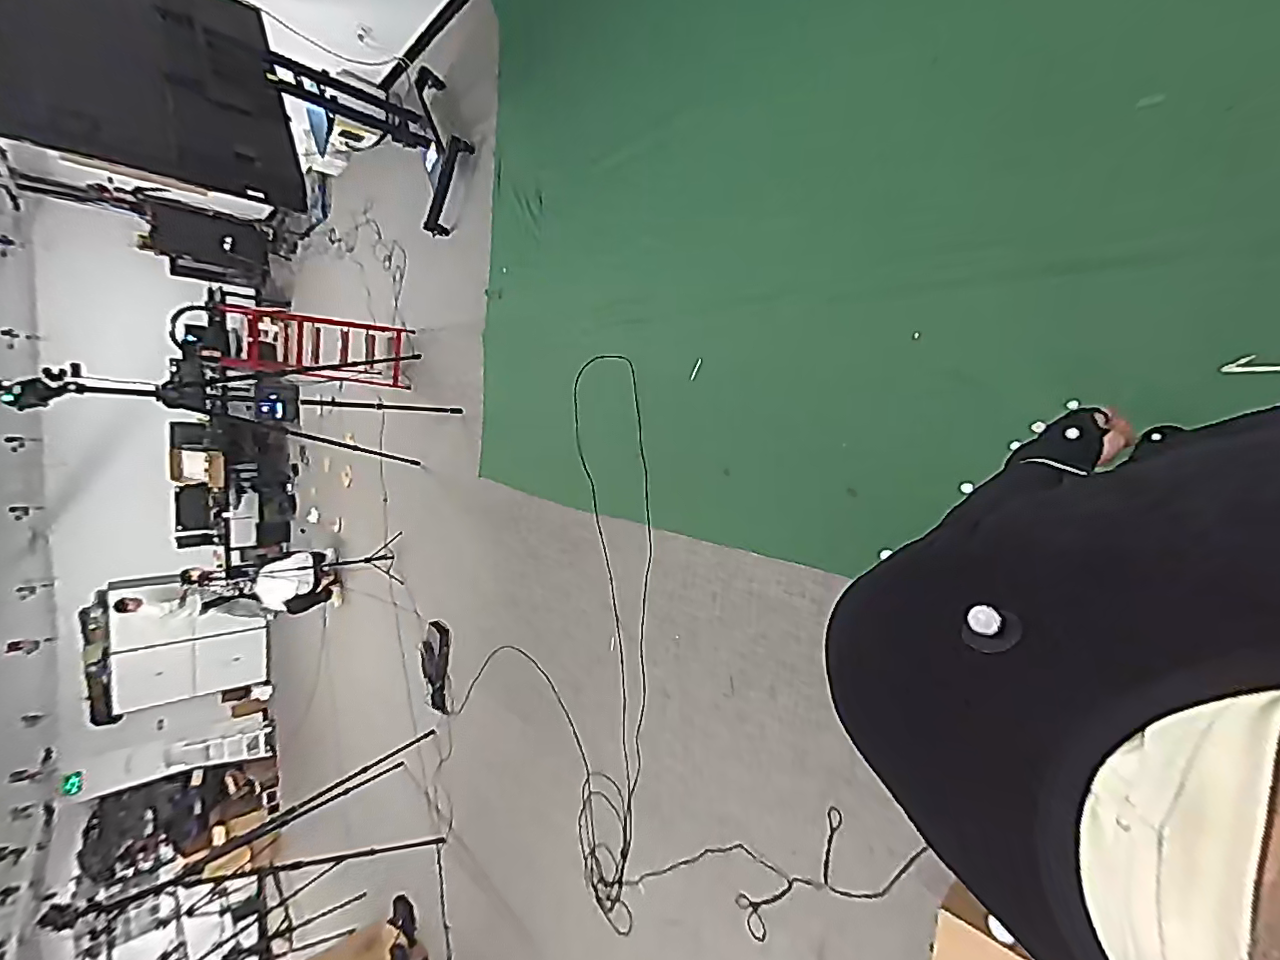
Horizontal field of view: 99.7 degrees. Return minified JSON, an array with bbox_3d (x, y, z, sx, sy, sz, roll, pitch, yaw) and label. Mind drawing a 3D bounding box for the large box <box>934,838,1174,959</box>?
[{"bbox_3d":[0.957,1.157,1.272,0.408,0.320,0.320,9,98,45],"label":"large box"}]
